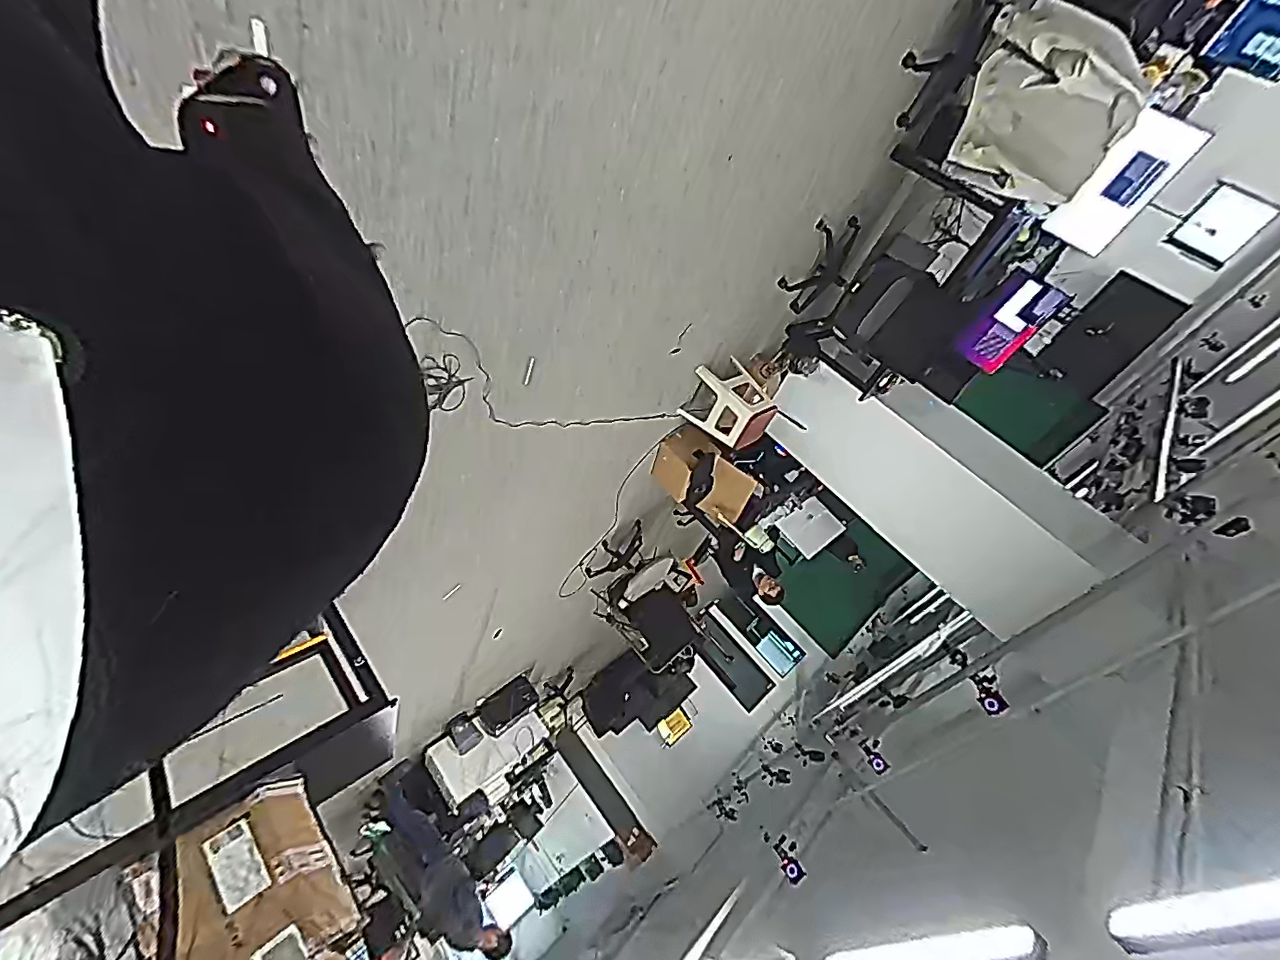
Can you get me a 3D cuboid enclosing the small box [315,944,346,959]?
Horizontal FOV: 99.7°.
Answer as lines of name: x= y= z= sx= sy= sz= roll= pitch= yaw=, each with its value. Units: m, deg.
small box: x=-0.958 y=1.535 z=1.606 sx=0.179 sy=0.176 sz=0.168 roll=-25 pitch=156 yaw=-38
